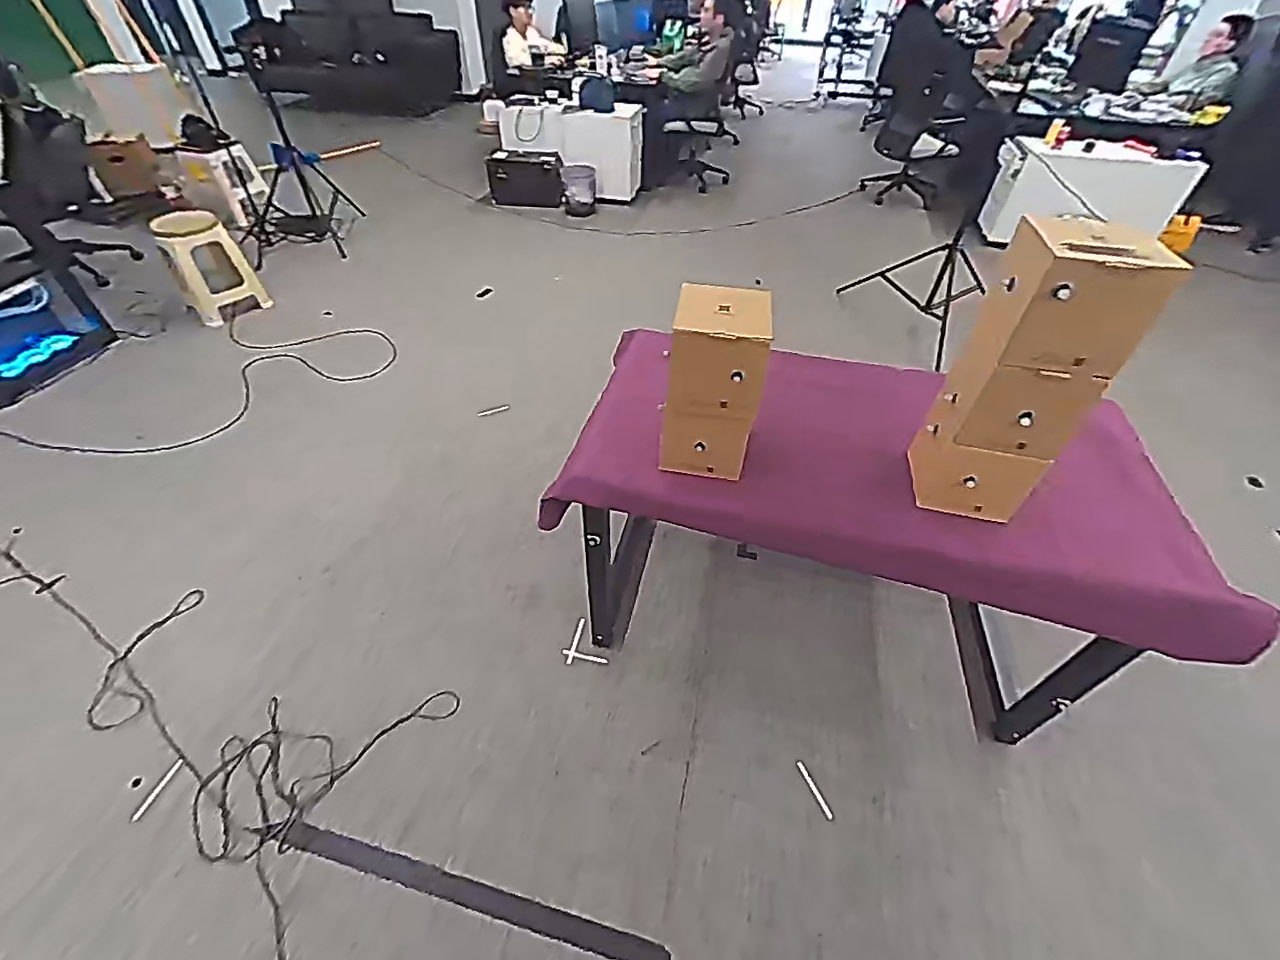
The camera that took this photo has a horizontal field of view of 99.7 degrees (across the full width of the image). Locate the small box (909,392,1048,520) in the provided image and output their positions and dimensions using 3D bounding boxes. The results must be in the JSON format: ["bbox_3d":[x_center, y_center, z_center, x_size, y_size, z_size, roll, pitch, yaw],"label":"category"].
[{"bbox_3d":[0.646,-0.046,1.058,0.168,0.176,0.179,10,45,9],"label":"small box"}]

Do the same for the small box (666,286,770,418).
[{"bbox_3d":[0.141,-0.234,0.995,0.168,0.176,0.179,7,44,4],"label":"small box"}]

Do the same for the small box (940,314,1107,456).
[{"bbox_3d":[0.651,-0.165,0.945,0.168,0.176,0.179,11,46,10],"label":"small box"}]

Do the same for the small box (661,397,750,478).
[{"bbox_3d":[0.136,-0.124,1.114,0.168,0.176,0.179,8,44,5],"label":"small box"}]
